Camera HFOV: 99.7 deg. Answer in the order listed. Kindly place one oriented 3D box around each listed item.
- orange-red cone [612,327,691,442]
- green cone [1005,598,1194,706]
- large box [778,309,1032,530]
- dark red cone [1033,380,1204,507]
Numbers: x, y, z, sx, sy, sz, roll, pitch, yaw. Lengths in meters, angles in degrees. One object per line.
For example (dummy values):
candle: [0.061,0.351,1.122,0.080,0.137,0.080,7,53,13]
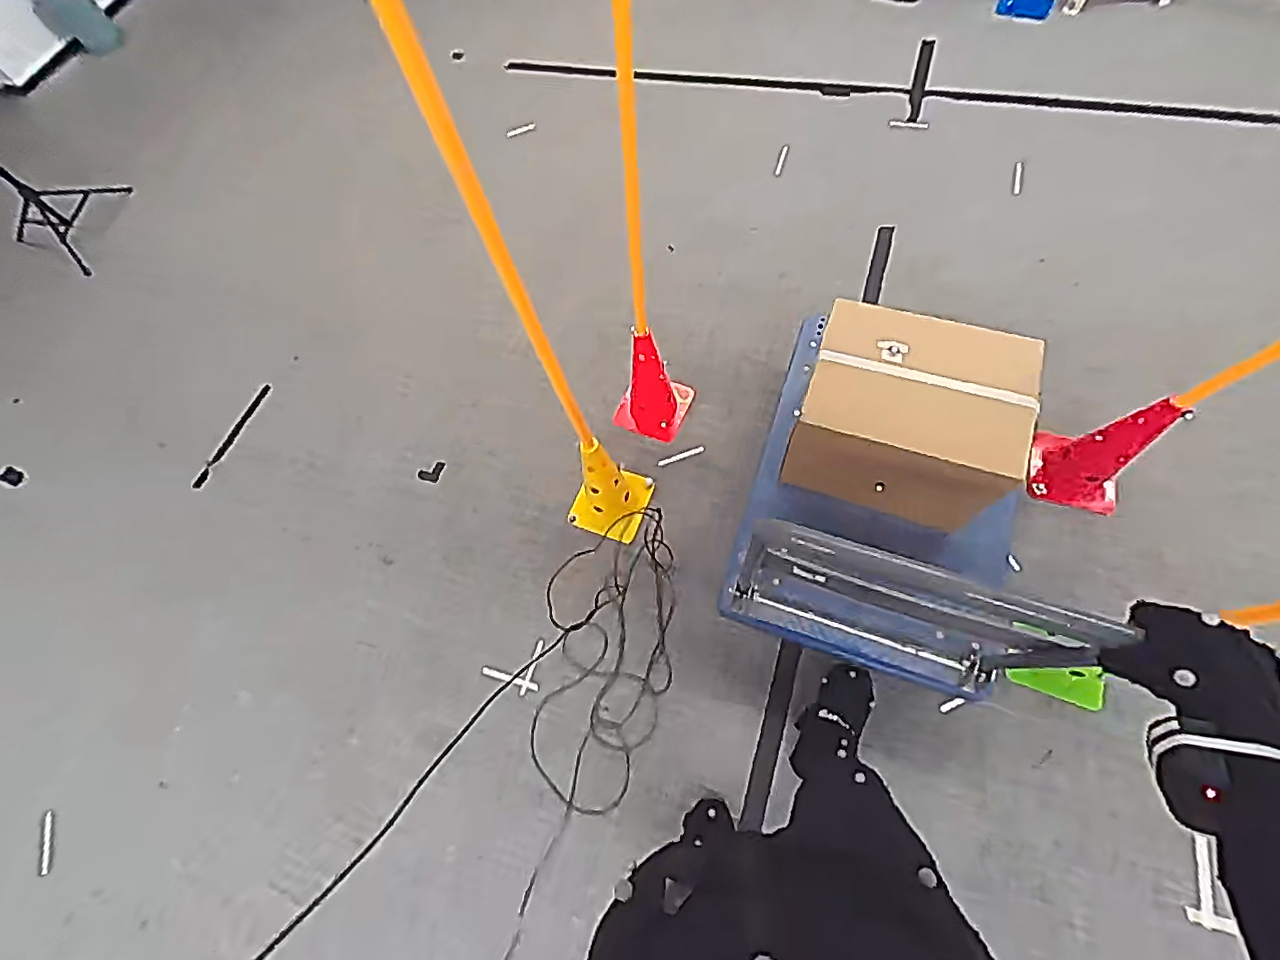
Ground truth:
orange-red cone: [0.021,-0.291,1.488,0.198,0.360,0.199,22,69,14]
green cone: [0.948,0.326,1.099,0.202,0.368,0.200,18,70,13]
large box: [0.553,-0.123,1.191,0.408,0.320,0.320,17,70,15]
dark red cone: [1.115,-0.104,1.251,0.201,0.394,0.202,15,69,11]
